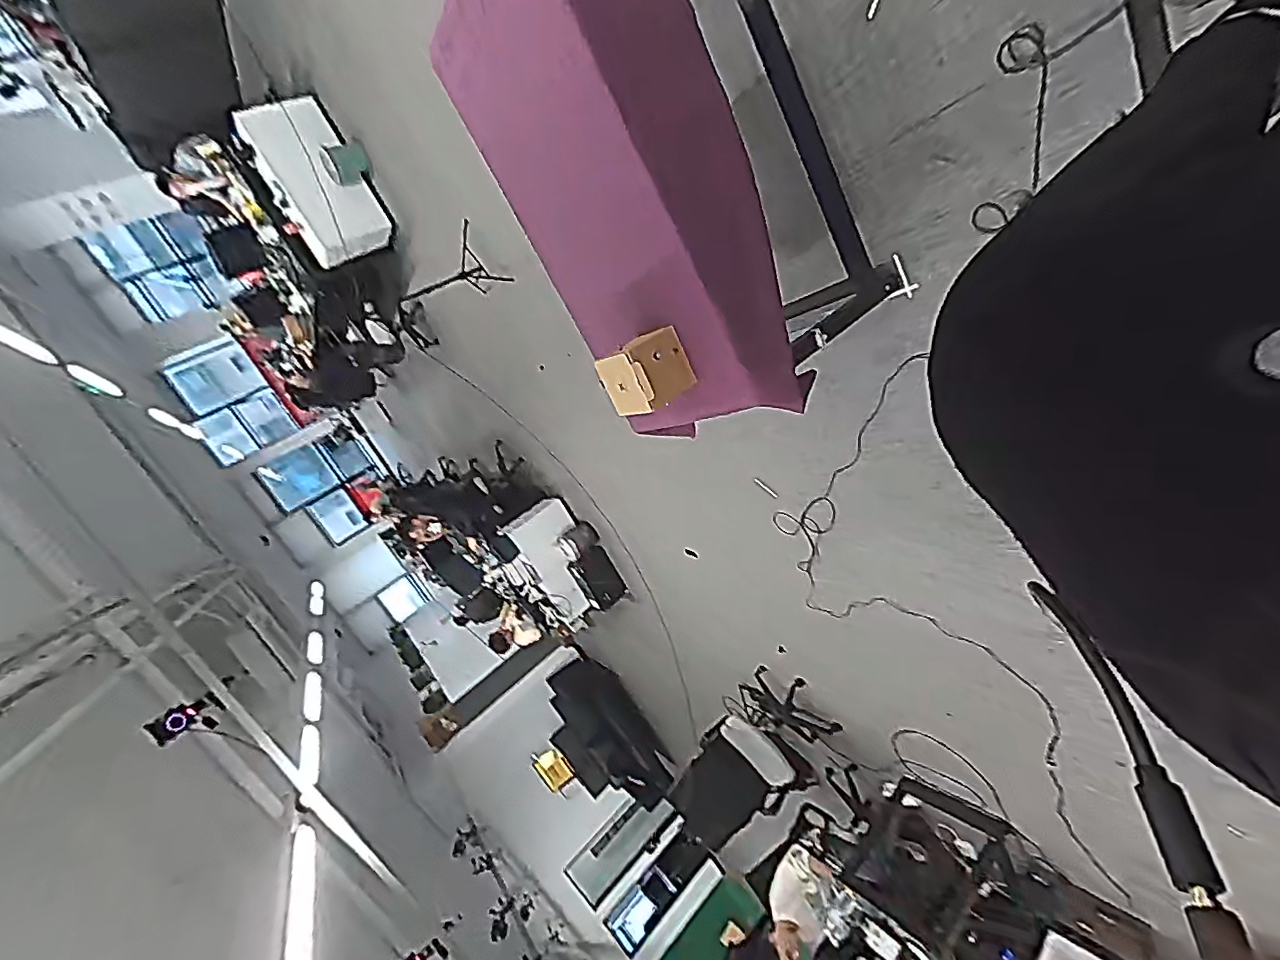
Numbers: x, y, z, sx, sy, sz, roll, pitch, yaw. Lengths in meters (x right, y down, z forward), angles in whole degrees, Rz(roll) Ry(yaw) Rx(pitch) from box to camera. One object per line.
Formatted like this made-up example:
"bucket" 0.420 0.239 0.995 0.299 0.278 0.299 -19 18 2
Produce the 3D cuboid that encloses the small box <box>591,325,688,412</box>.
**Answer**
"small box" 0.006 -0.296 1.437 0.179 0.176 0.168 5 126 57
